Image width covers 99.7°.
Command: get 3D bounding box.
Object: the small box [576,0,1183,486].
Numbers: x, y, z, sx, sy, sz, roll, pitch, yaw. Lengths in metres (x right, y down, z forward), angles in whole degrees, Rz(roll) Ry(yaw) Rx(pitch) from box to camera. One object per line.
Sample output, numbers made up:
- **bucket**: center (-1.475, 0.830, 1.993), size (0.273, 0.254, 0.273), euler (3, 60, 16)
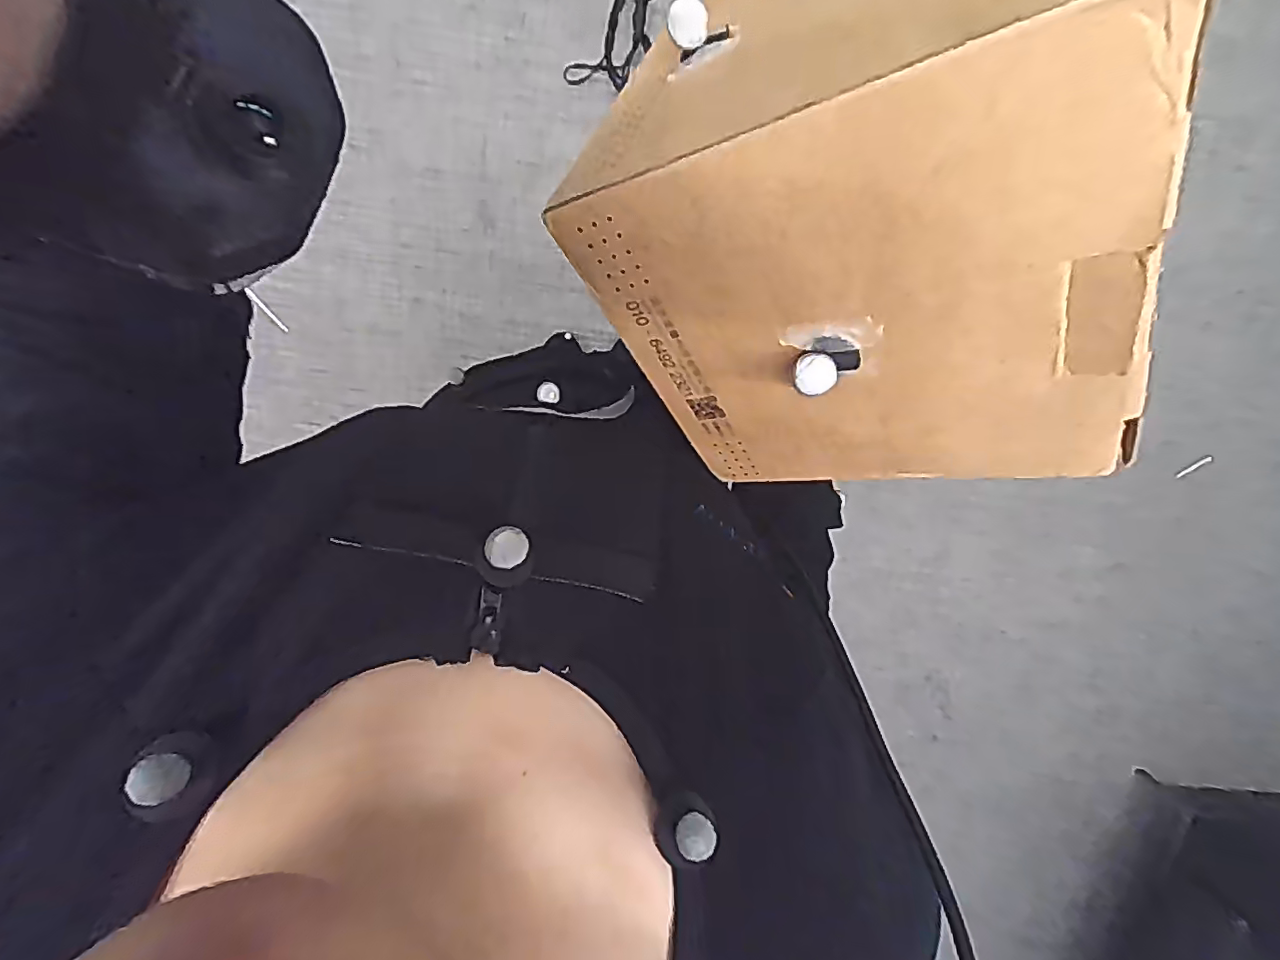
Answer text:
- **small box**: center (0.097, -0.111, 0.237), size (0.176, 0.179, 0.168), euler (0, 145, 35)
